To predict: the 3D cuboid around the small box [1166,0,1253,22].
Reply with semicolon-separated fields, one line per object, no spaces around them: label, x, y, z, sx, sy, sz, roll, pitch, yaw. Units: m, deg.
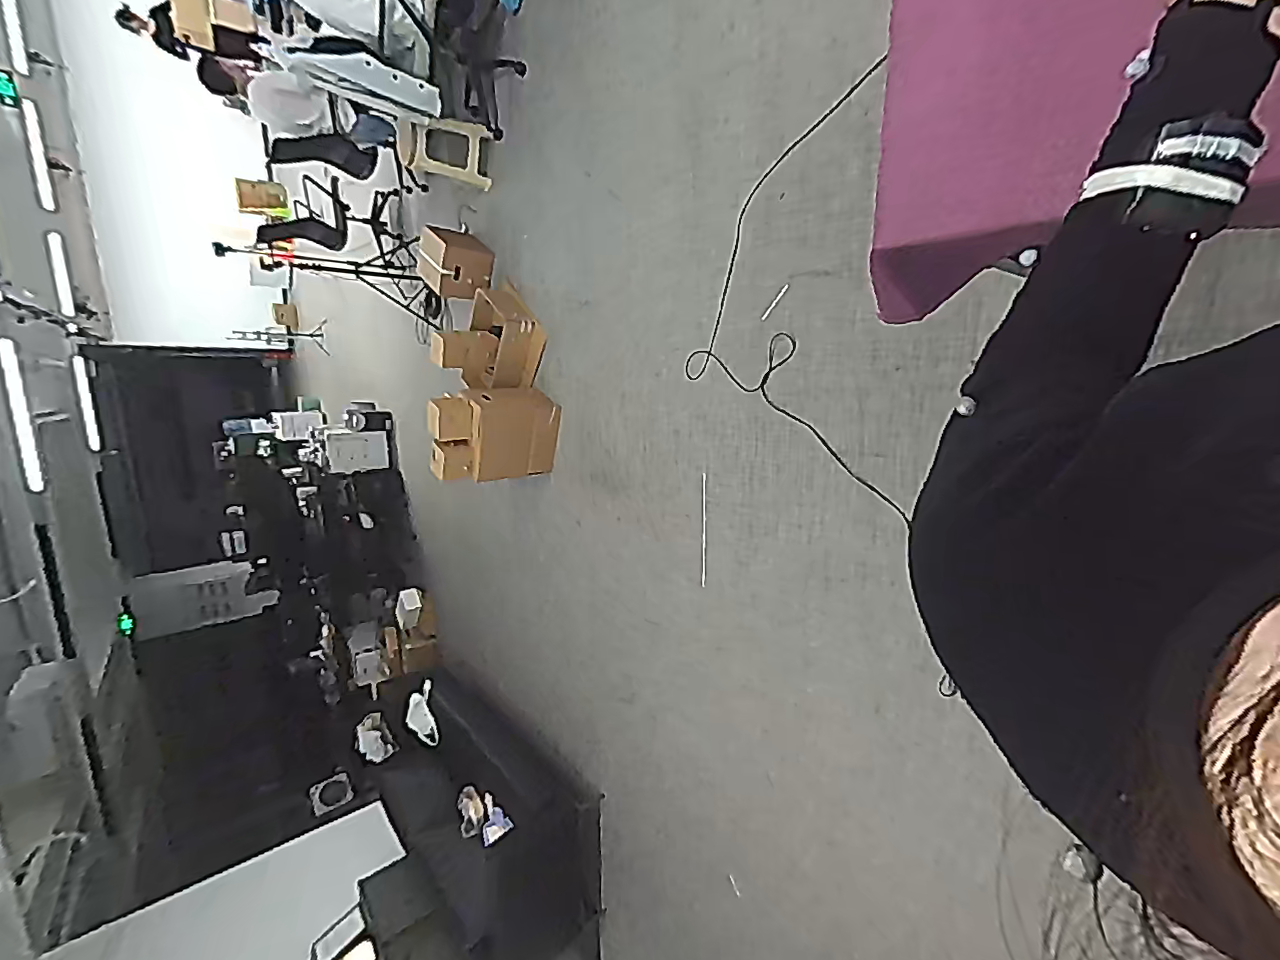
small box;0.542;-0.532;0.436;0.168;0.176;0.179;17;110;48
